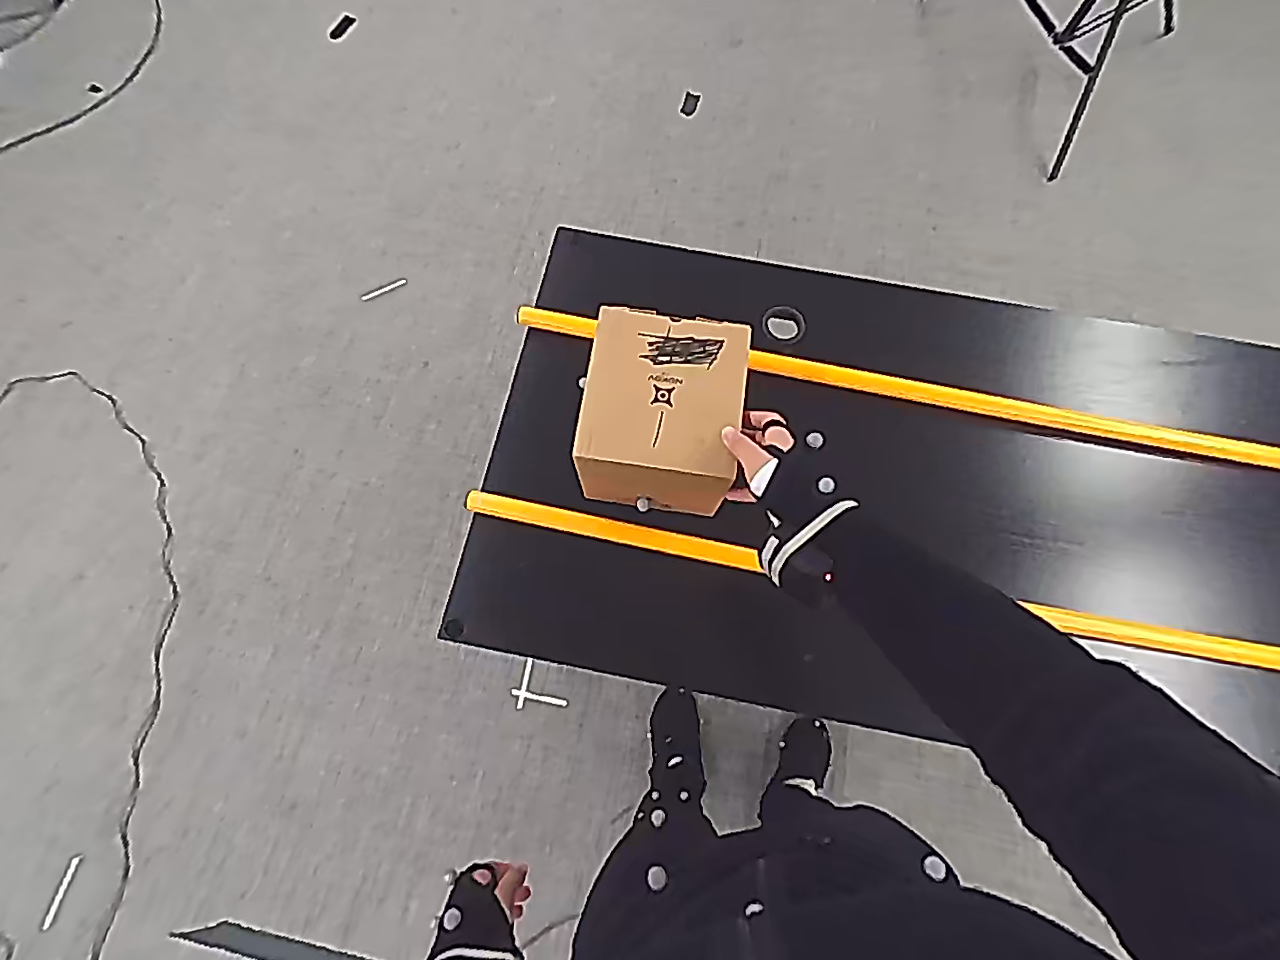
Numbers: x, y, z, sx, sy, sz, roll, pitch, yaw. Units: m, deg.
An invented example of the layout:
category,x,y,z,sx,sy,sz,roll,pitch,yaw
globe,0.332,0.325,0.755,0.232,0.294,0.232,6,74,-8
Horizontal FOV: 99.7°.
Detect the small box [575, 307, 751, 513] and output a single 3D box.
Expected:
category,x,y,z,sx,sy,sz,roll,pitch,yaw
small box,0.026,-0.073,0.640,0.168,0.176,0.179,9,74,2
